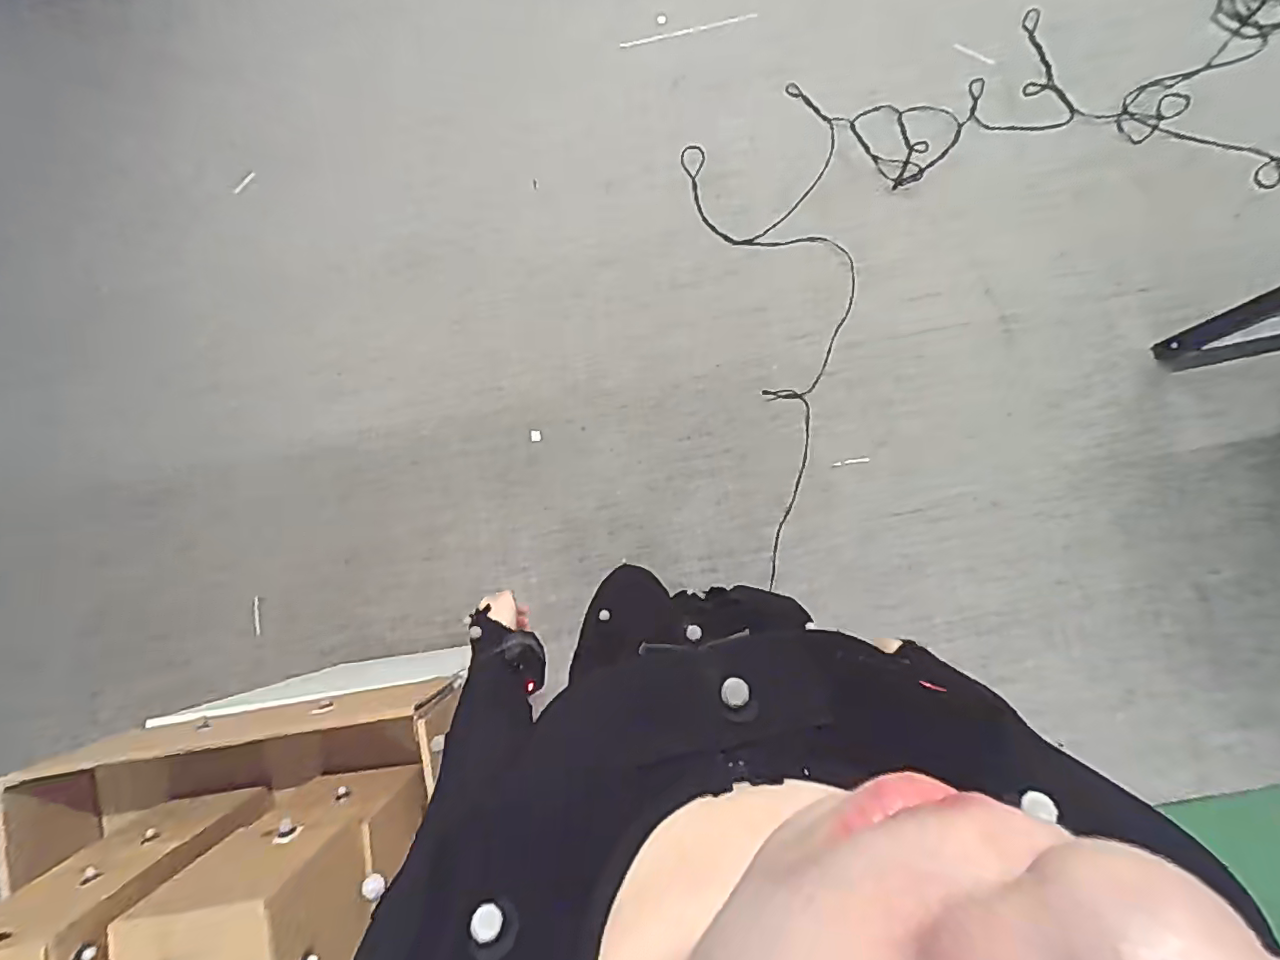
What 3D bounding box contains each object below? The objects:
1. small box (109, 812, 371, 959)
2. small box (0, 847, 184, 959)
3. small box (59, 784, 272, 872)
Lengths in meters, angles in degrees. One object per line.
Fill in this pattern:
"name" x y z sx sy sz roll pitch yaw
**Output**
"small box" -0.428 0.516 0.608 0.168 0.176 0.179 -11 85 1
"small box" -0.657 0.566 0.614 0.168 0.176 0.179 -11 85 0
"small box" -0.659 0.575 0.776 0.168 0.176 0.179 -10 87 -1
